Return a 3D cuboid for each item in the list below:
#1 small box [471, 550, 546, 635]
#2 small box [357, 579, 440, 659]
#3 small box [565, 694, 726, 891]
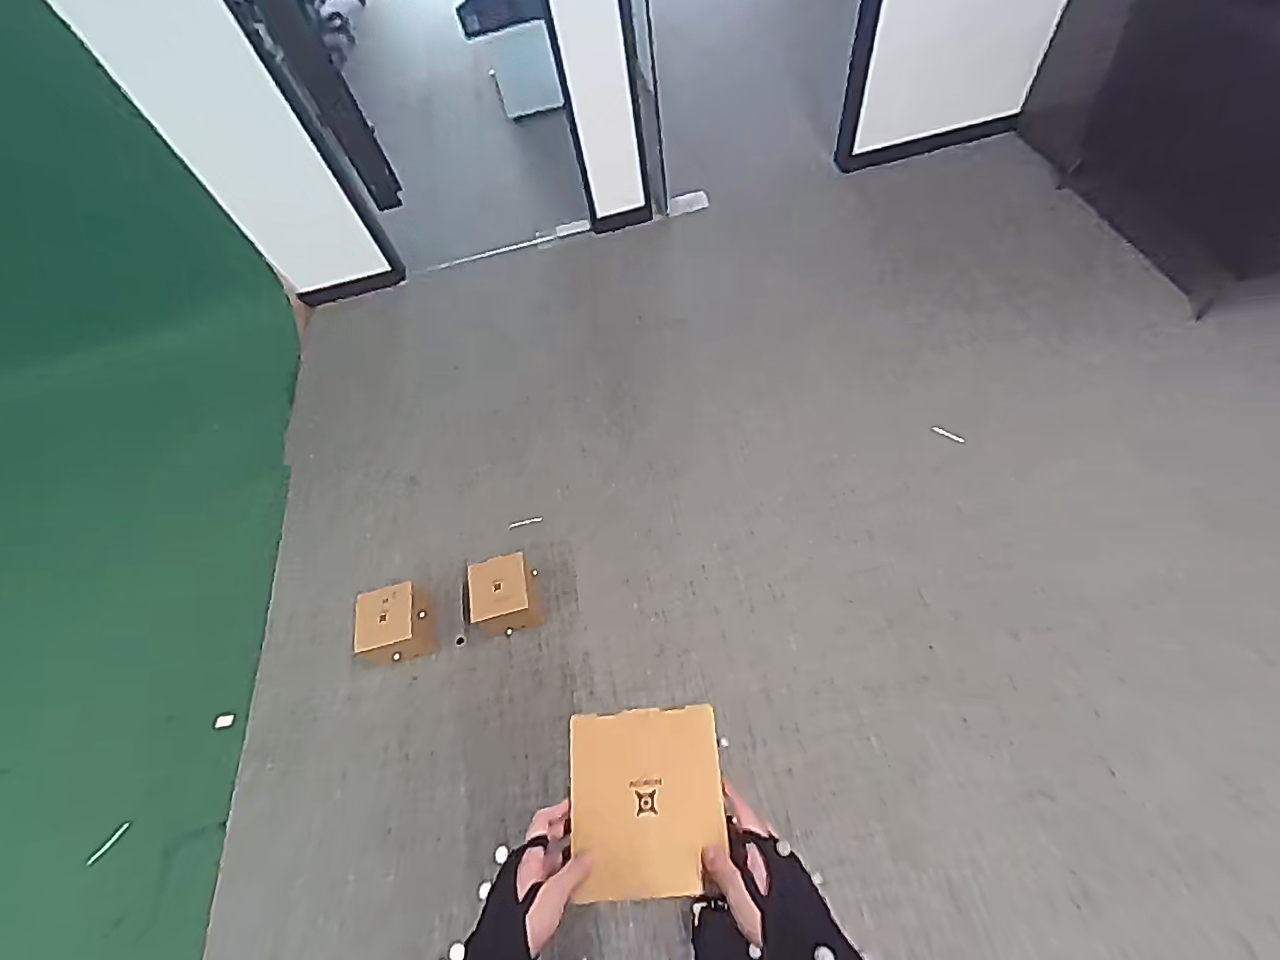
[{"bbox_3d":[-0.383,0.333,1.586,0.168,0.176,0.179,-15,59,1],"label":"small box"},{"bbox_3d":[-0.701,0.416,1.587,0.168,0.176,0.179,-14,58,0],"label":"small box"},{"bbox_3d":[0.009,0.363,0.643,0.168,0.176,0.179,-6,60,2],"label":"small box"}]
